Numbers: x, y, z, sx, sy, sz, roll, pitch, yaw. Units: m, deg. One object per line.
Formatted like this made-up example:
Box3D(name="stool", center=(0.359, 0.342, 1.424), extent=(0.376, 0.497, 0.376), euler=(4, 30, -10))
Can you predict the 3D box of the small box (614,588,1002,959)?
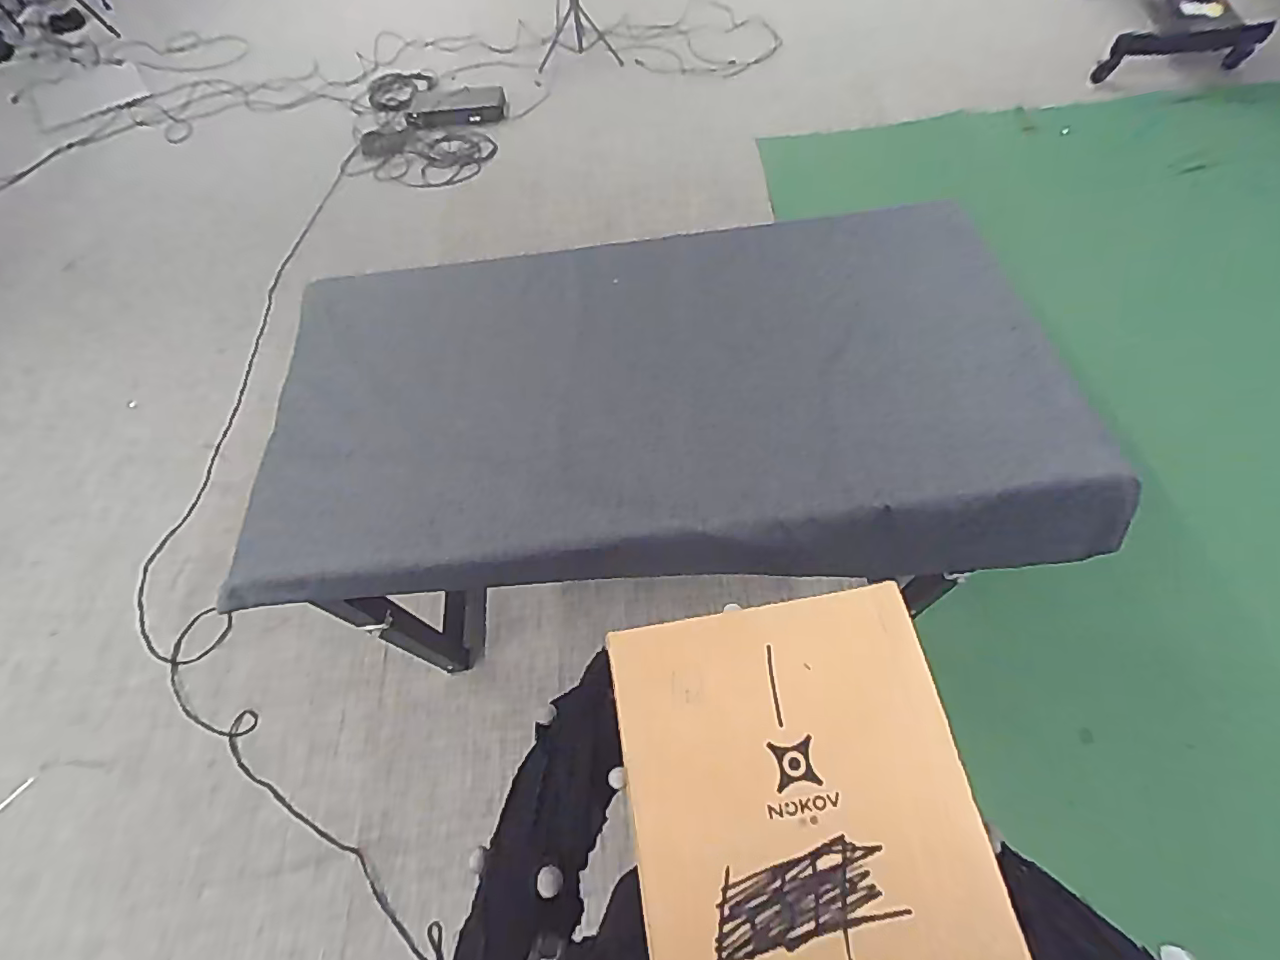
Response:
Box3D(name="small box", center=(0.080, 0.181, 0.352), extent=(0.168, 0.176, 0.179), euler=(-8, 68, -2))
